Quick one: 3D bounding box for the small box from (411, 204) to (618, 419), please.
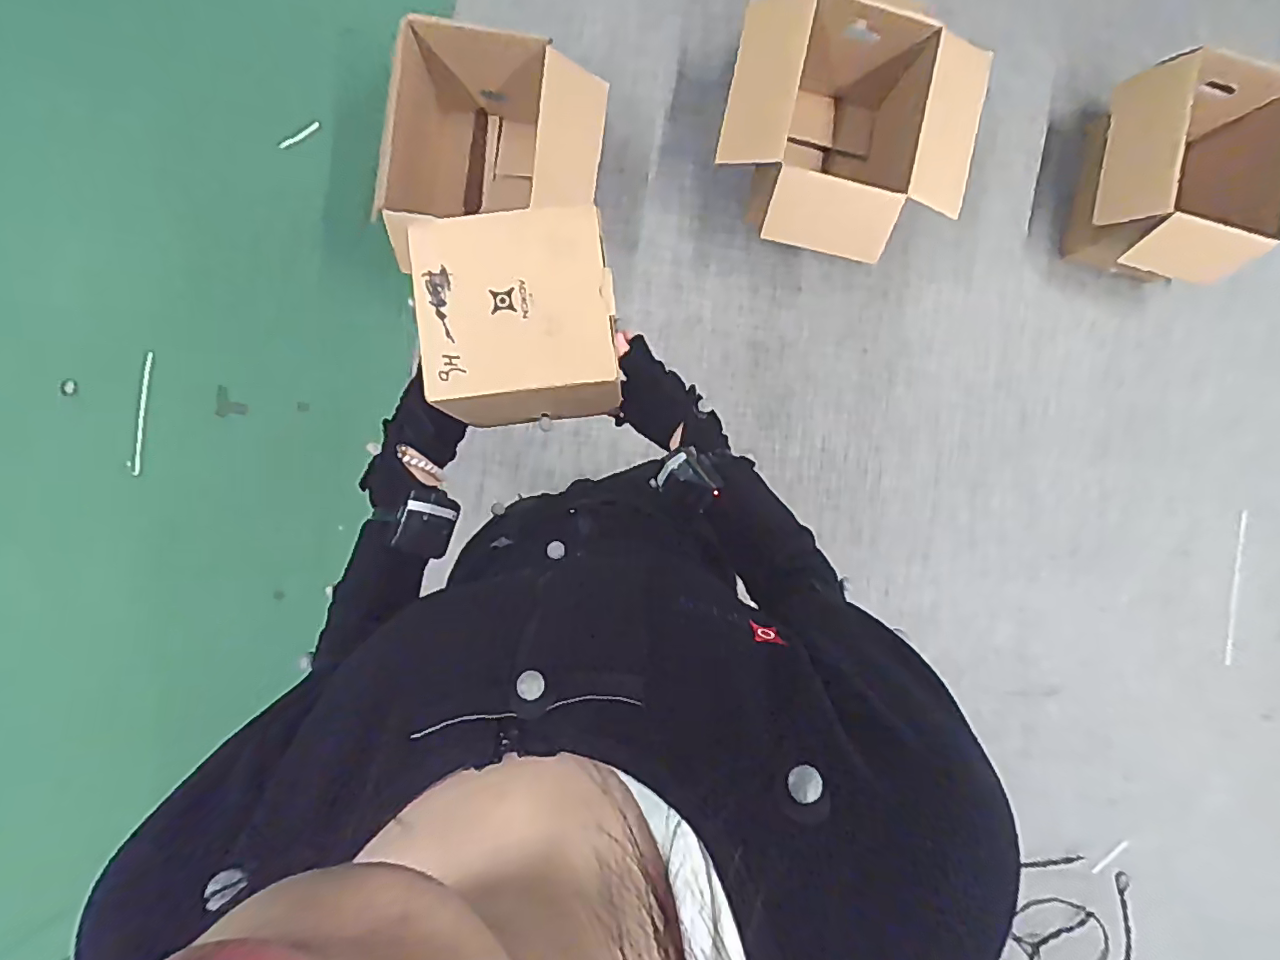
[{"bbox_3d":[-0.119,-0.163,0.570,0.179,0.176,0.168,-6,87,-3],"label":"small box"}]
